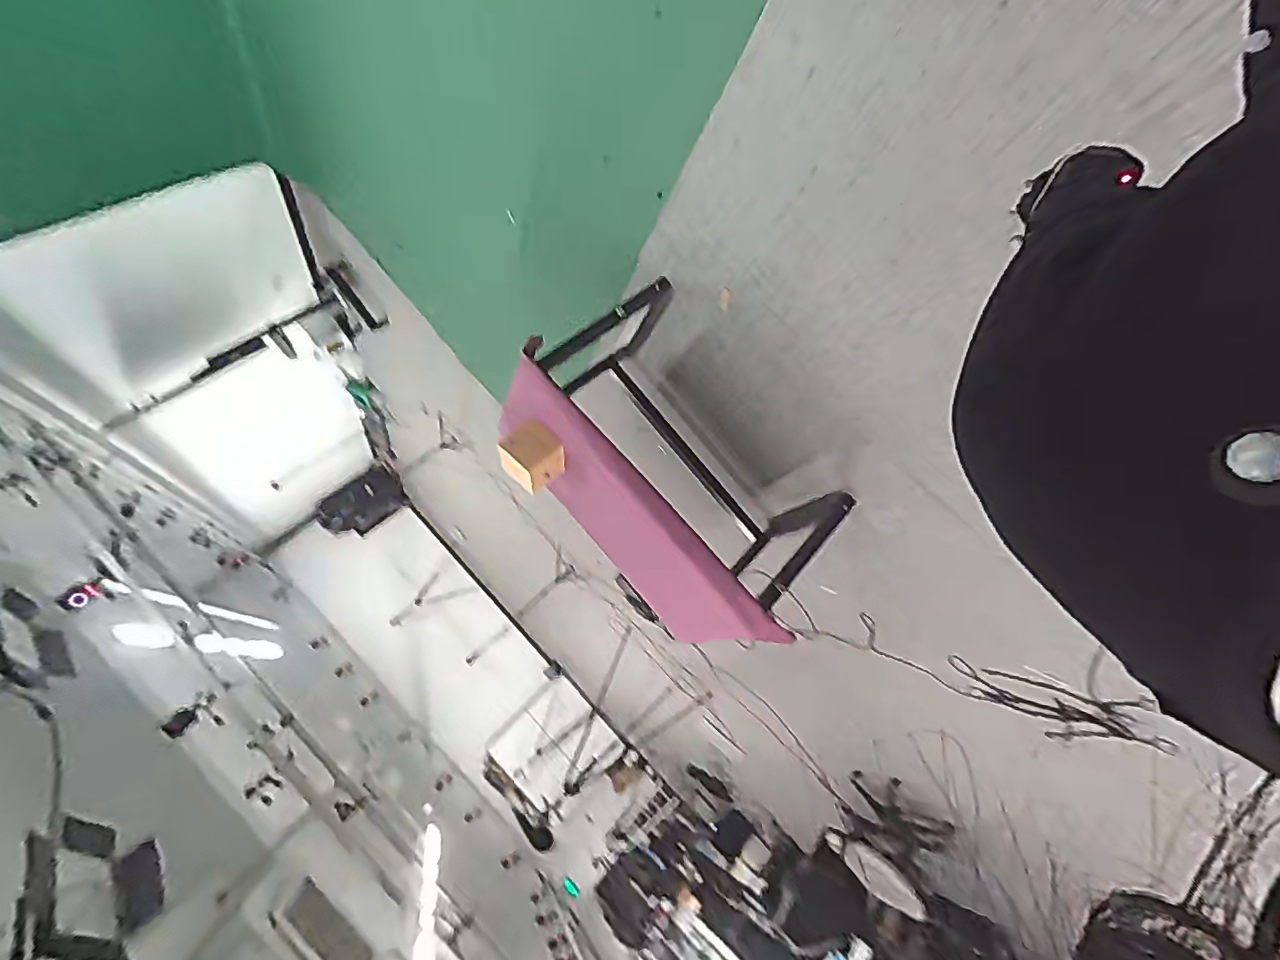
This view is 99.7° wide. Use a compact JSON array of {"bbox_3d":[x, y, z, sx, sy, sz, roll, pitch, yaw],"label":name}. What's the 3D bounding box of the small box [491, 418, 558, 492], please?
[{"bbox_3d":[-0.412,-0.096,1.972,0.179,0.176,0.168,40,152,17],"label":"small box"}]
